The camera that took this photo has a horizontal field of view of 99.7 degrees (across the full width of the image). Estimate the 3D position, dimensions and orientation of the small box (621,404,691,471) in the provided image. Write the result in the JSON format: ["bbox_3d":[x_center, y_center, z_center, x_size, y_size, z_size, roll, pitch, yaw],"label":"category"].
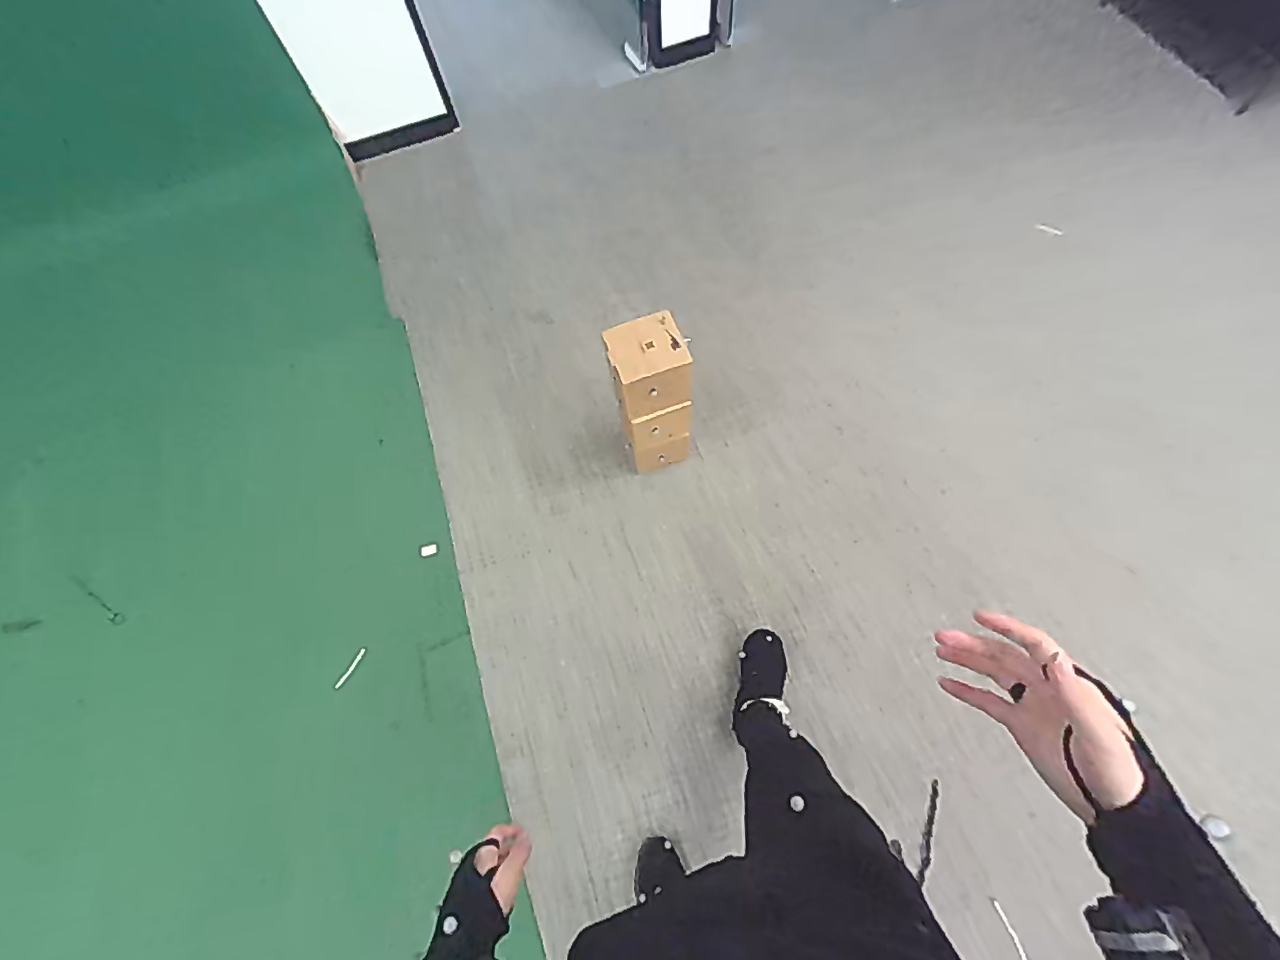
[{"bbox_3d":[0.053,-0.144,1.638,0.168,0.176,0.179,-18,66,-4],"label":"small box"}]

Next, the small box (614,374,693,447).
[{"bbox_3d":[0.043,-0.209,1.490,0.168,0.176,0.179,-21,66,-4],"label":"small box"}]

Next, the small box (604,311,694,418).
[{"bbox_3d":[0.028,-0.278,1.342,0.179,0.176,0.168,-20,67,-3],"label":"small box"}]
